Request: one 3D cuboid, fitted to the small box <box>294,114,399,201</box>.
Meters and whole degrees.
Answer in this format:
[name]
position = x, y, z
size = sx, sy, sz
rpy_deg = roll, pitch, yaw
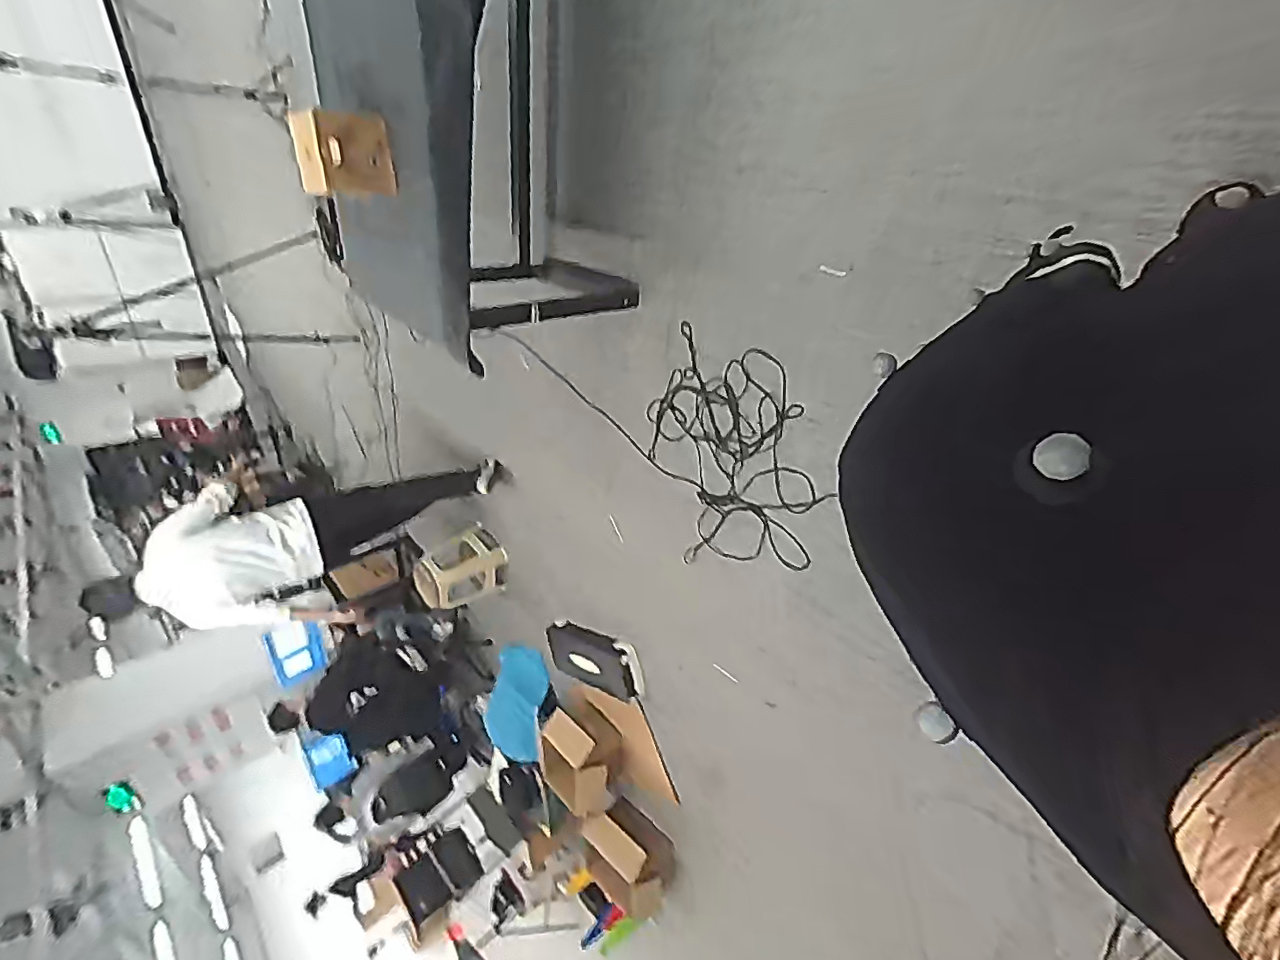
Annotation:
[small box]
position = -0.724, -0.789, 1.340
size = 0.179, 0.176, 0.168
rpy_deg = 23, 123, 40
